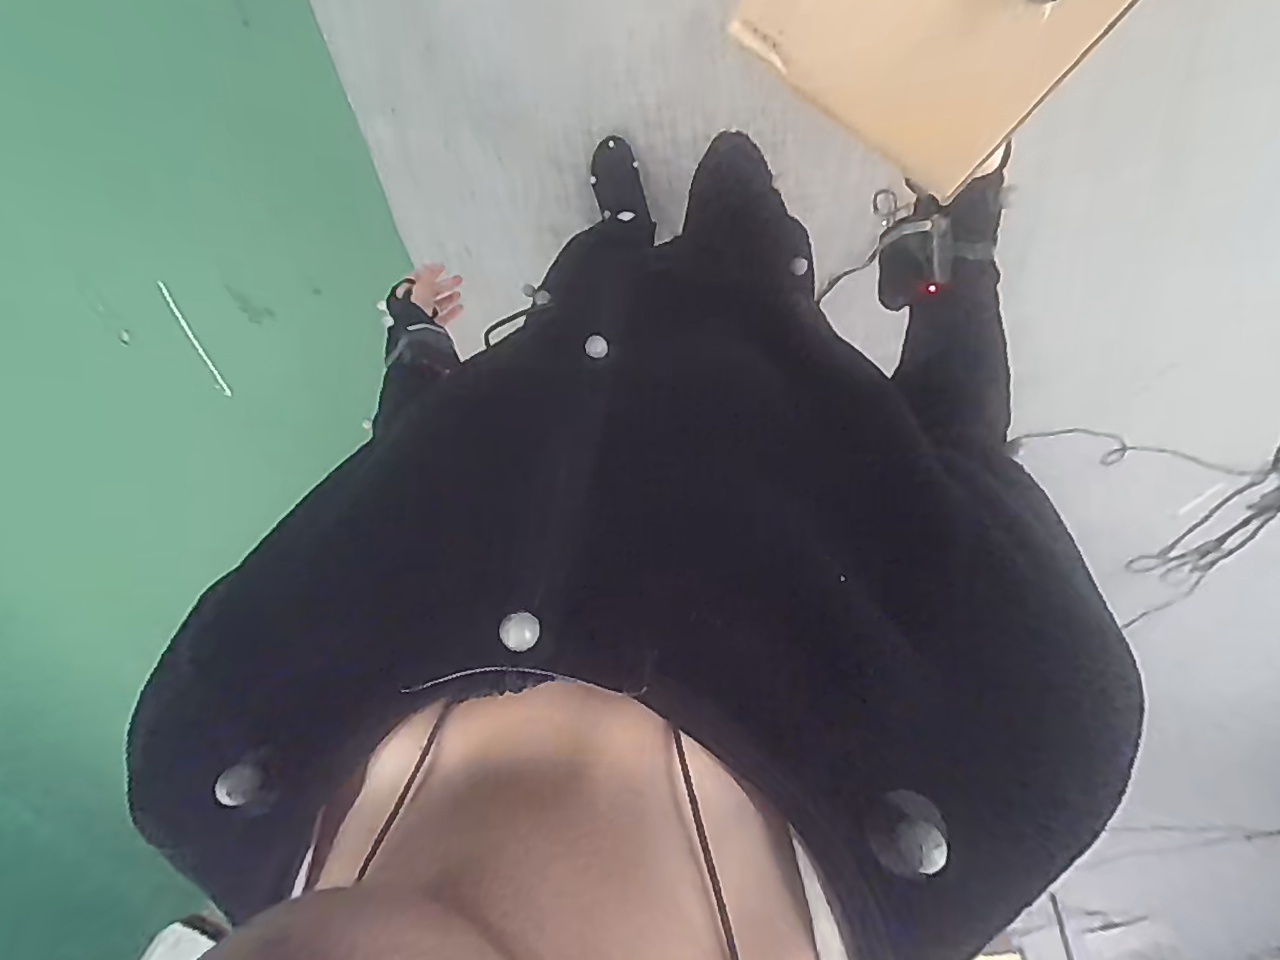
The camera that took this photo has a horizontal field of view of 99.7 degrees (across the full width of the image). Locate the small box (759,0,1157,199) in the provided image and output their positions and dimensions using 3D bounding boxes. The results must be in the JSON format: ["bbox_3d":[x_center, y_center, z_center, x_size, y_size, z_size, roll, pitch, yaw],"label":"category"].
[{"bbox_3d":[0.183,-0.303,0.291,0.176,0.168,0.179,34,144,-4],"label":"small box"}]

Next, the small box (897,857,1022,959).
[{"bbox_3d":[0.661,0.931,1.145,0.168,0.176,0.179,-11,124,6],"label":"small box"}]

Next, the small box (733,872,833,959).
[{"bbox_3d":[0.304,0.980,1.175,0.179,0.176,0.168,-6,124,3],"label":"small box"}]

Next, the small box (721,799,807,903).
[{"bbox_3d":[0.295,0.900,1.319,0.179,0.176,0.168,-5,124,4],"label":"small box"}]
